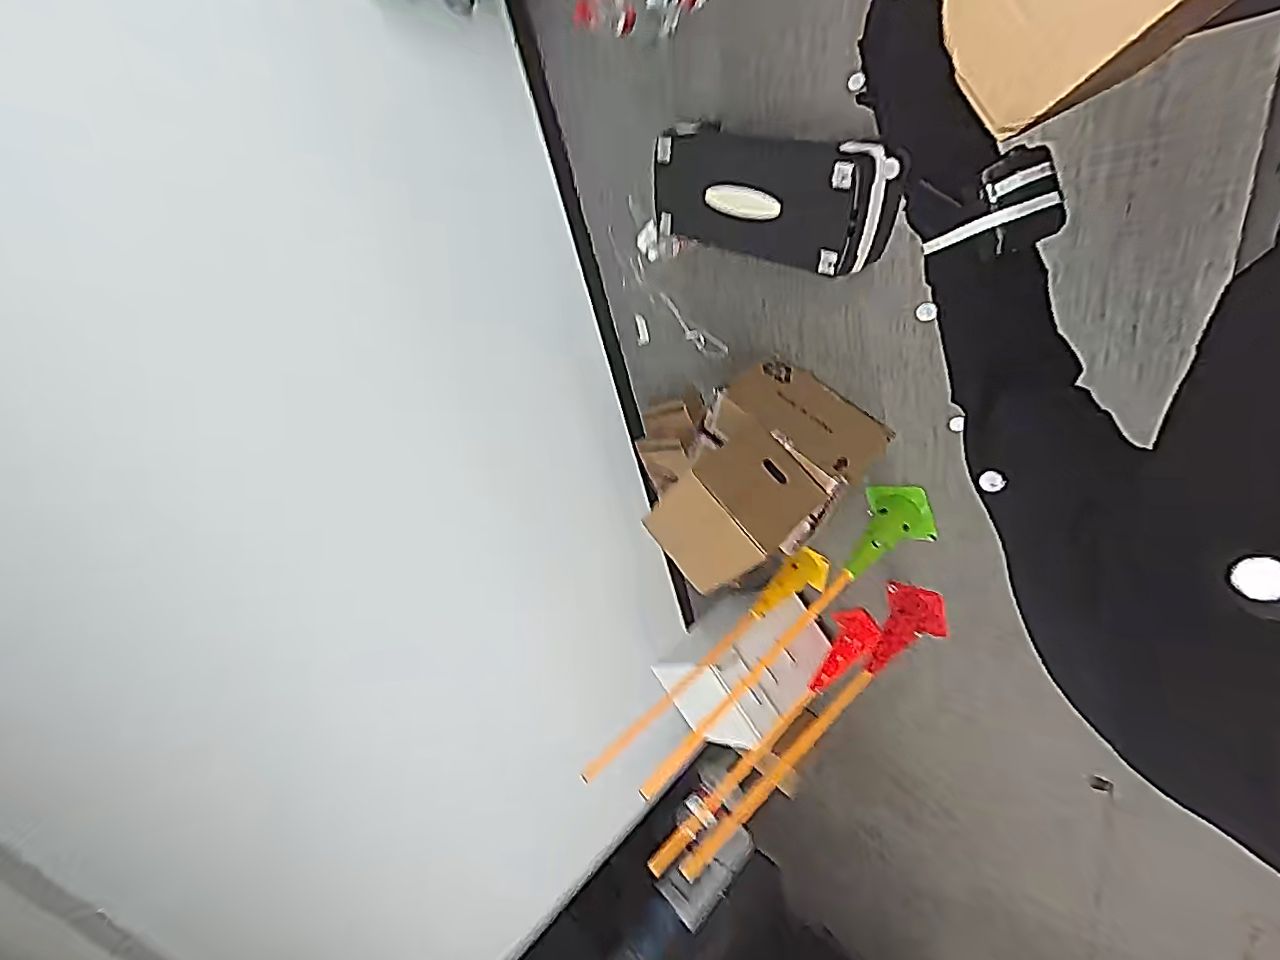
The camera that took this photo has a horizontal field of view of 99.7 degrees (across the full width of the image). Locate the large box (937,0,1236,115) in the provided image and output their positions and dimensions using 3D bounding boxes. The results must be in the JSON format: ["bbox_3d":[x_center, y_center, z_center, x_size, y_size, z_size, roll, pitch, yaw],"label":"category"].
[{"bbox_3d":[0.374,-0.507,0.285,0.320,0.320,0.408,56,152,-1],"label":"large box"}]
